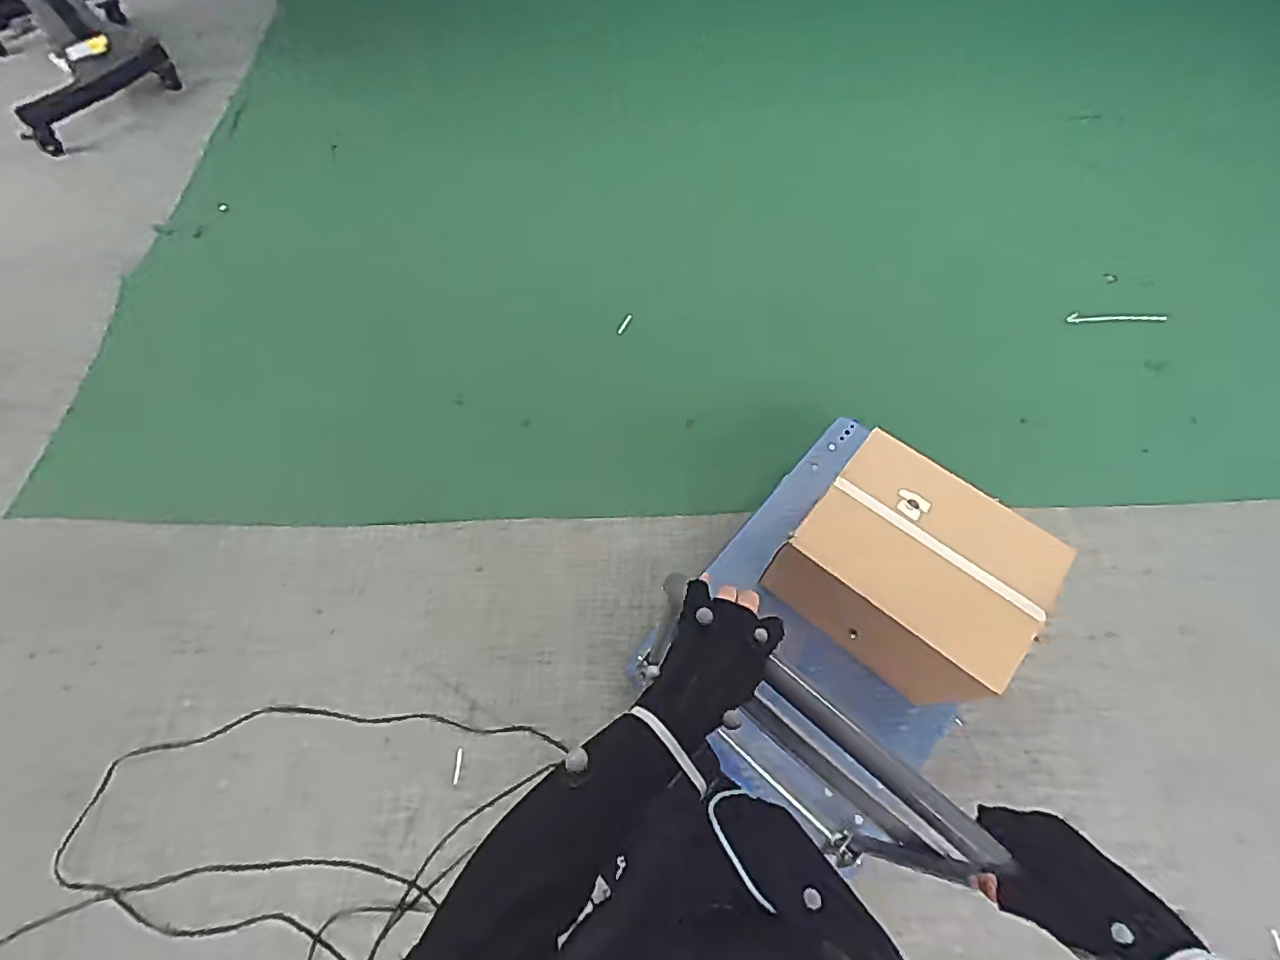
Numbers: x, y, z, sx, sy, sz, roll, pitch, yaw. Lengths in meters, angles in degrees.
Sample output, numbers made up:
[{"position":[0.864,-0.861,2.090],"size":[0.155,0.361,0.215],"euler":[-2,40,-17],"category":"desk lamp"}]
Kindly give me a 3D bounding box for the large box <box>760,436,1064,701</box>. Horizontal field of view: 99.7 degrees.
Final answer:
[{"position":[0.516,0.191,1.108],"size":[0.408,0.320,0.320],"euler":[37,70,18],"category":"large box"}]
